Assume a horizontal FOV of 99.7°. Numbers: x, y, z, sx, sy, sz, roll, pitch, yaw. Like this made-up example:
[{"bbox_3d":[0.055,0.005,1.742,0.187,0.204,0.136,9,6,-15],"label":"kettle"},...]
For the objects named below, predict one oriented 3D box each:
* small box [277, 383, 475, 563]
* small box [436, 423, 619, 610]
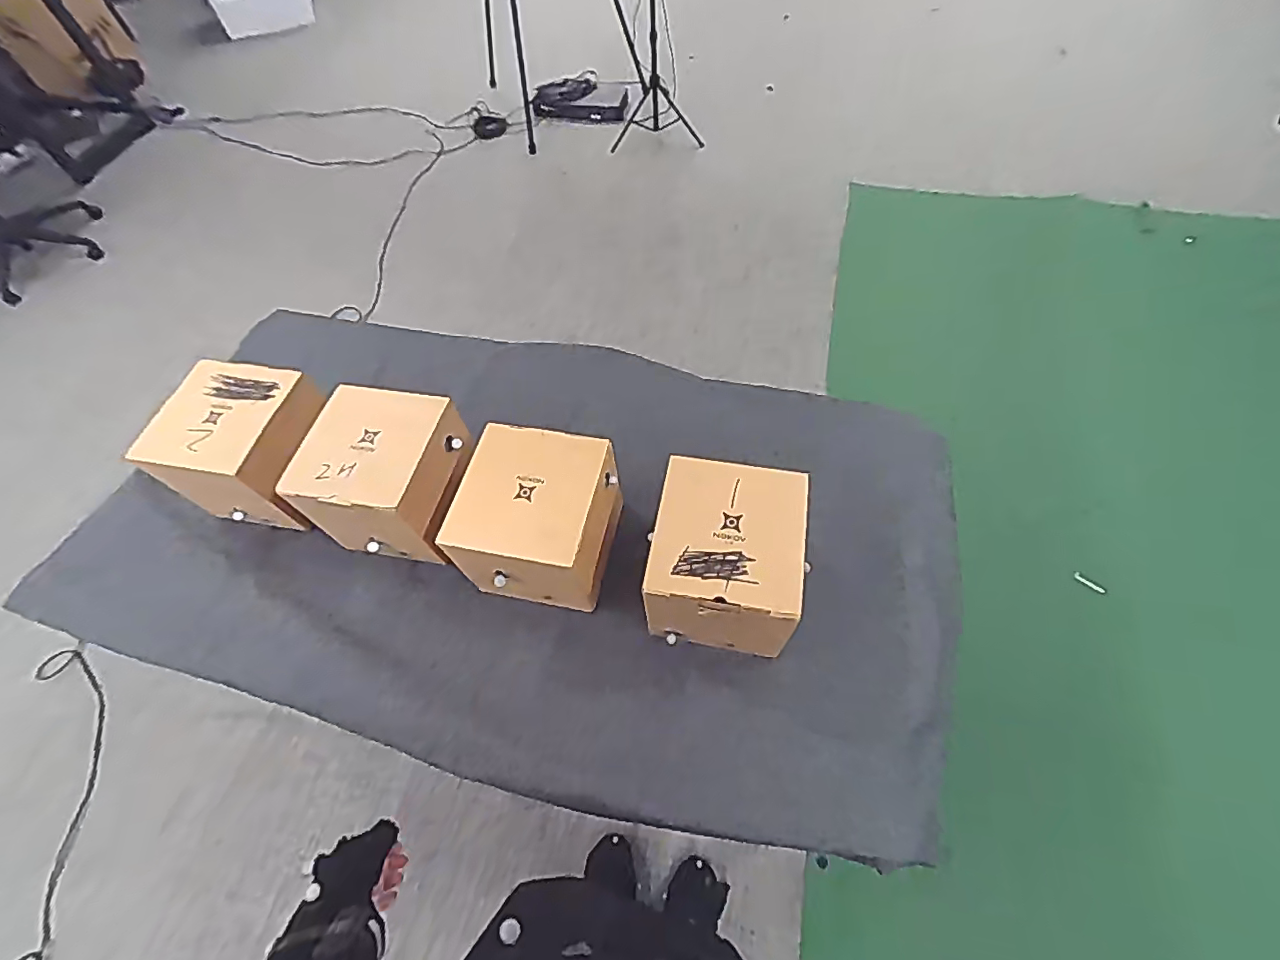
[{"bbox_3d":[-0.340,-0.007,0.750,0.168,0.176,0.179,8,60,9],"label":"small box"},{"bbox_3d":[-0.128,0.052,0.702,0.168,0.176,0.179,9,59,9],"label":"small box"}]
